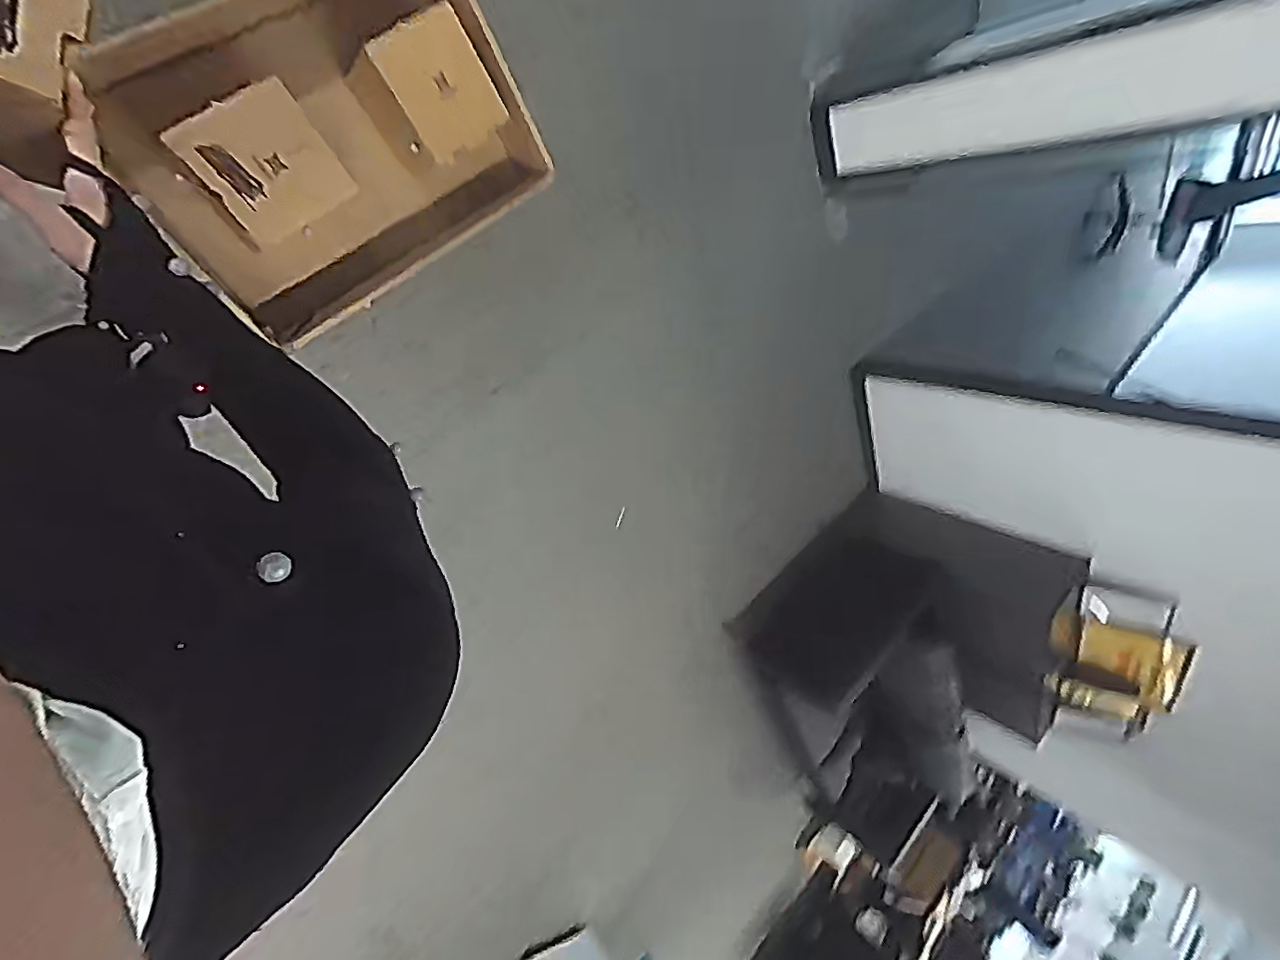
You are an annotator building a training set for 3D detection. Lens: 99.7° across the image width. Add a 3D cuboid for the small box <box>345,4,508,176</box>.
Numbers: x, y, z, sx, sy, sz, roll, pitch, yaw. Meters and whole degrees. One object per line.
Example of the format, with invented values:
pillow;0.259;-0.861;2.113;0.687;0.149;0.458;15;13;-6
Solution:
small box;-0.370;-0.658;0.933;0.168;0.176;0.179;-46;131;-17
